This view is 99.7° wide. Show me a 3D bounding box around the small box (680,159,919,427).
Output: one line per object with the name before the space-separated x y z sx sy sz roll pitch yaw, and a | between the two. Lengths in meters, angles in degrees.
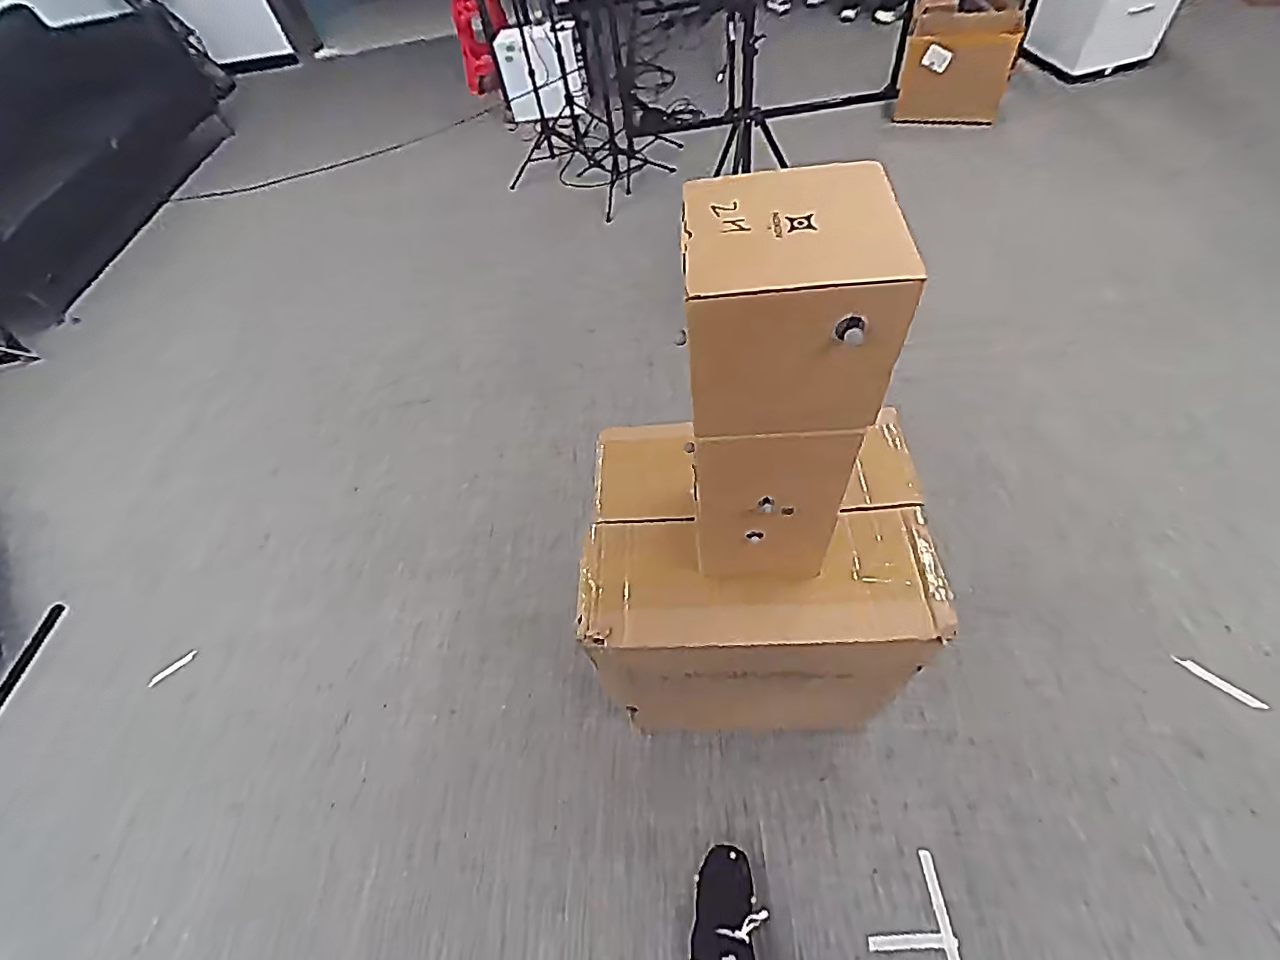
small box | 0.129 -0.166 0.508 0.179 0.176 0.168 -3 56 8

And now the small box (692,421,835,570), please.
small box | 0.168 0.021 0.777 0.179 0.176 0.168 -2 56 8
